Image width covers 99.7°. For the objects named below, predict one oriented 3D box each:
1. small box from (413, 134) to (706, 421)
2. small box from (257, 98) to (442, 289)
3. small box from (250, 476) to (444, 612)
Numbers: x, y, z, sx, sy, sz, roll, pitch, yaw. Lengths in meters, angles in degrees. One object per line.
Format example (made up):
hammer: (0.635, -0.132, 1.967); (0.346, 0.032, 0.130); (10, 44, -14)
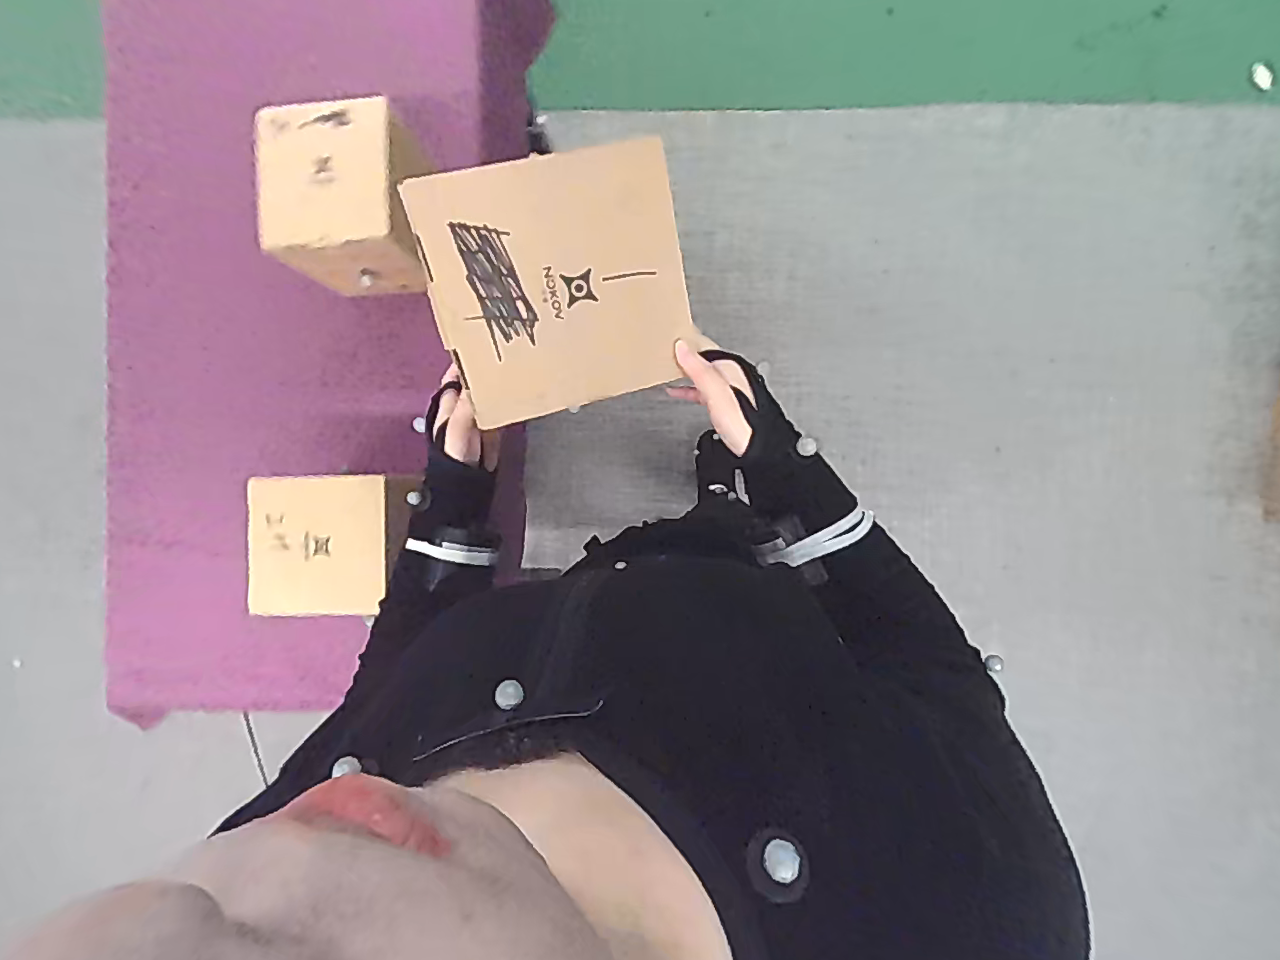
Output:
small box: (-0.063, -0.162, 0.450); (0.179, 0.176, 0.168); (-15, 112, -9)
small box: (-0.377, -0.370, 0.734); (0.168, 0.176, 0.179); (-2, 90, 5)
small box: (-0.378, 0.078, 0.727); (0.179, 0.176, 0.168); (-1, 88, 5)
